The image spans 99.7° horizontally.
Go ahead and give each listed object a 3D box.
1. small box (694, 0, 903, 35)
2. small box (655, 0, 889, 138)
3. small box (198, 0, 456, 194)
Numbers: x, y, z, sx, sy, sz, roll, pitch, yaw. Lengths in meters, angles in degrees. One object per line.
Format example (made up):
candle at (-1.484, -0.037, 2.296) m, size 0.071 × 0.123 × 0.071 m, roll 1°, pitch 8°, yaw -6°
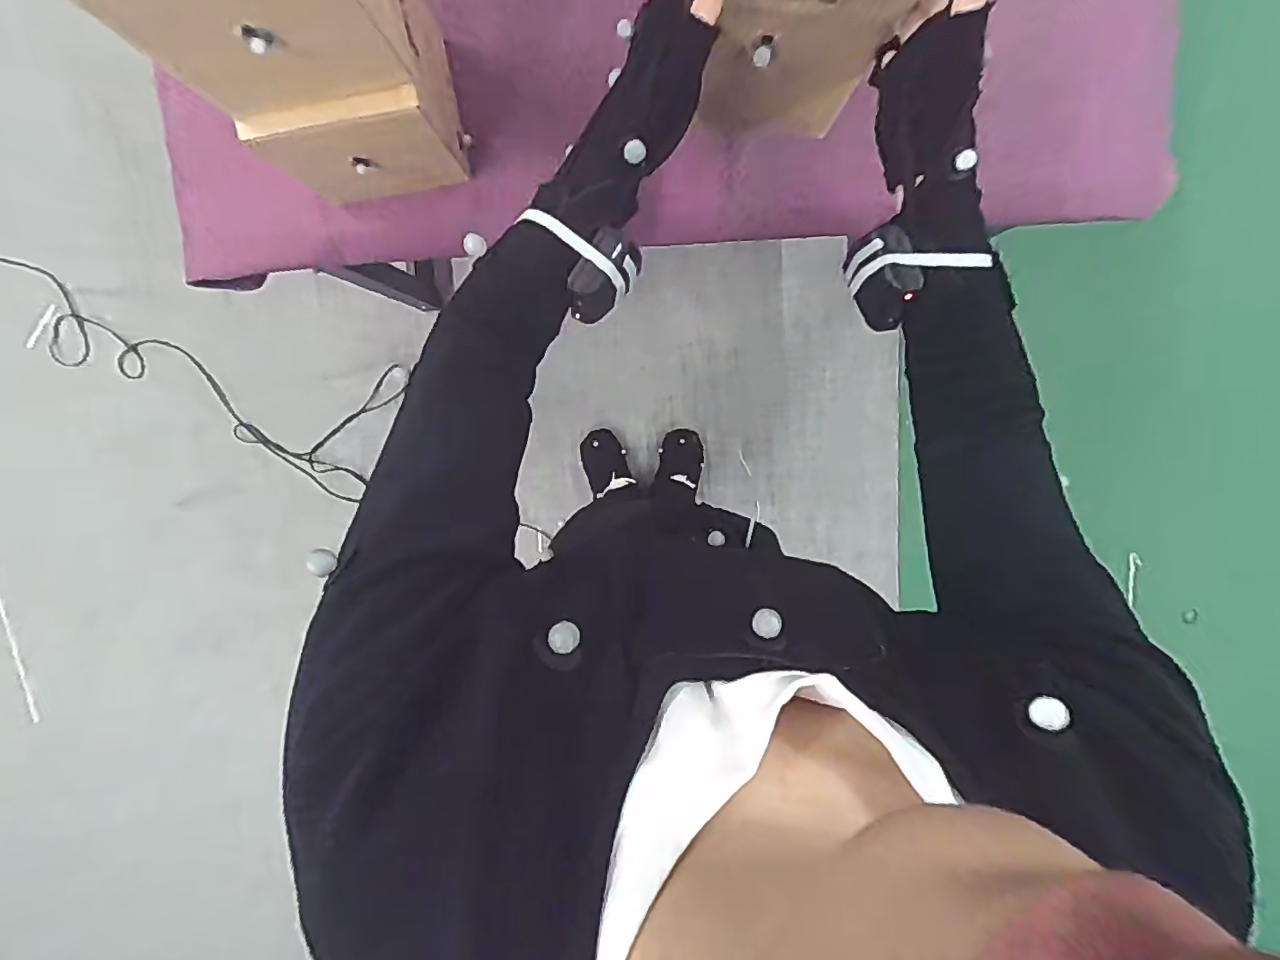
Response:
small box at (0.118, -0.427, 0.323) m, size 0.168 × 0.176 × 0.179 m, roll 6°, pitch 94°, yaw -1°
small box at (0.110, -0.440, 0.487) m, size 0.179 × 0.176 × 0.168 m, roll 4°, pitch 94°, yaw -1°
small box at (-0.310, -0.428, 0.572) m, size 0.179 × 0.176 × 0.168 m, roll -10°, pitch 98°, yaw 0°
